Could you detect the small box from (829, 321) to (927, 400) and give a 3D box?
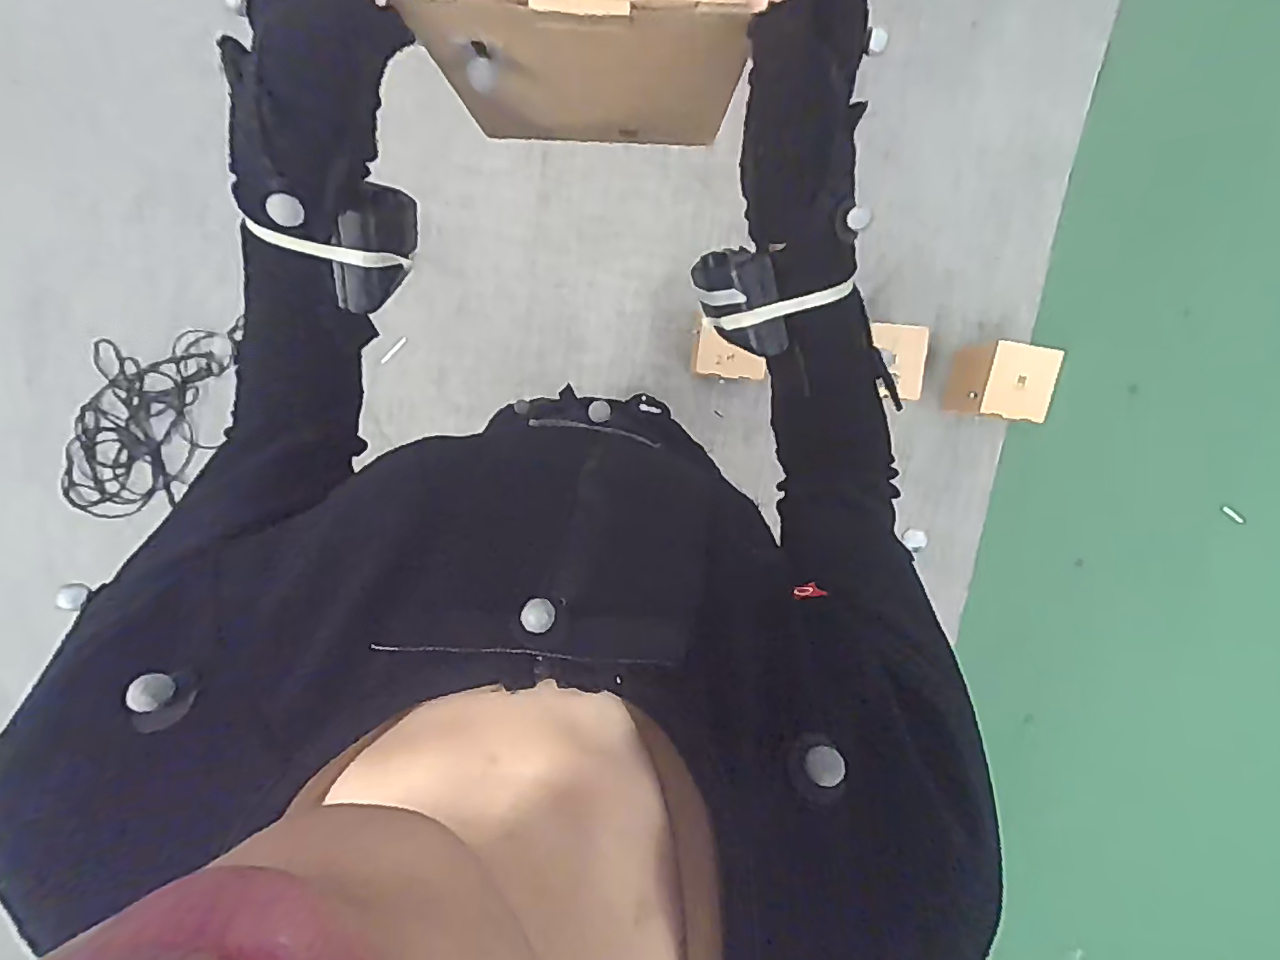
[{"bbox_3d":[0.592,-0.297,1.368,0.168,0.176,0.179,4,98,-2],"label":"small box"}]

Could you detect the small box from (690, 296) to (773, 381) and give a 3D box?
[{"bbox_3d":[0.220,-0.346,1.349,0.168,0.176,0.179,6,100,-1],"label":"small box"}]

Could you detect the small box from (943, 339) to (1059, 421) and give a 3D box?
[{"bbox_3d":[0.912,-0.254,1.384,0.168,0.176,0.179,9,99,-2],"label":"small box"}]
